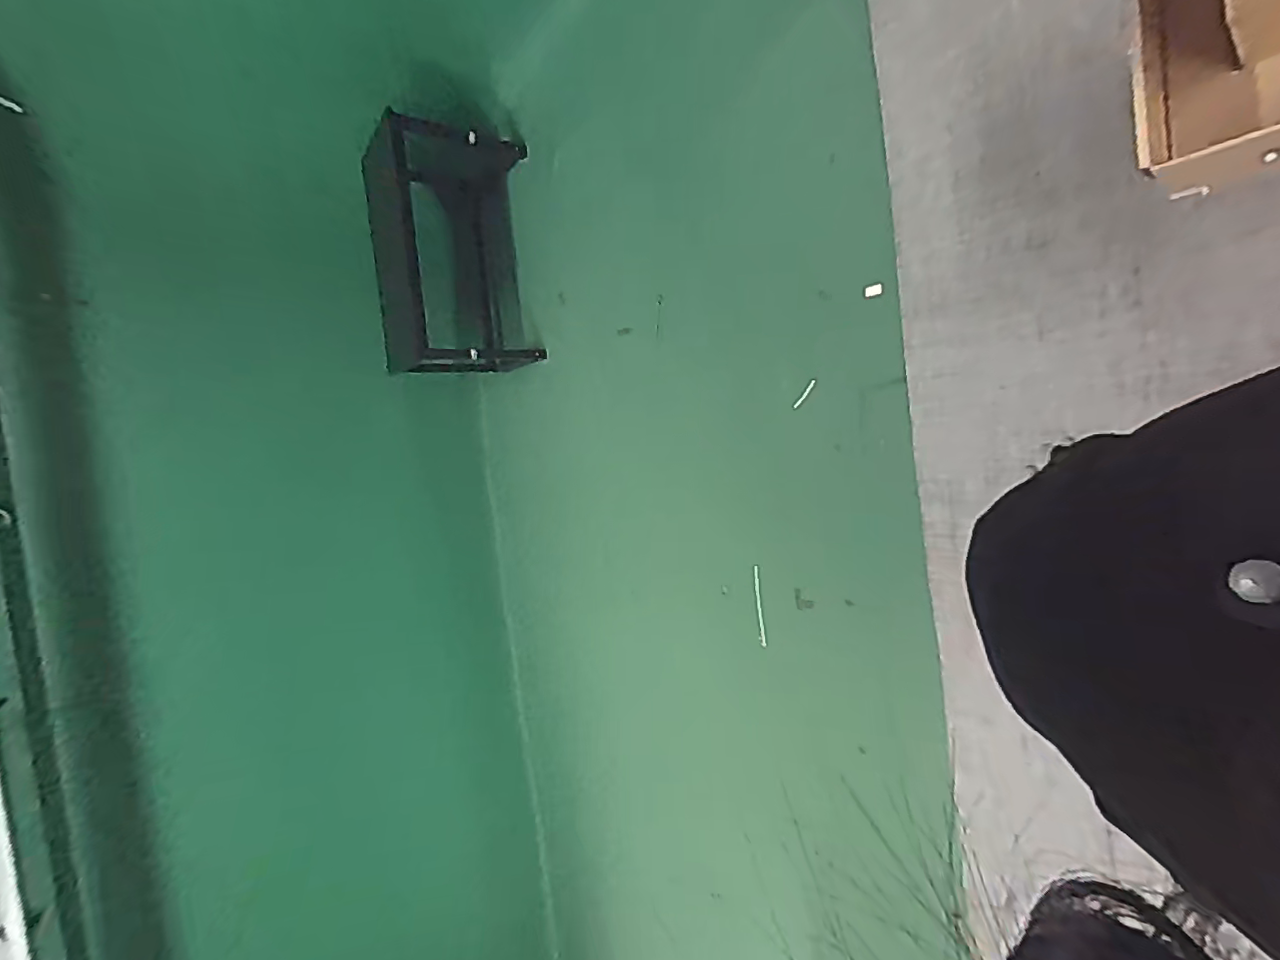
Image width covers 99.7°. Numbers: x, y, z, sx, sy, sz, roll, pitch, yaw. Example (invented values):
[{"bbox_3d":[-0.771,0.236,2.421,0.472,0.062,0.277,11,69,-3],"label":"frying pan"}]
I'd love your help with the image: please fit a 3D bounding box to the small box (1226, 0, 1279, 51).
[{"bbox_3d":[0.773,-0.640,0.603,0.168,0.176,0.179,-8,91,53],"label":"small box"}]
